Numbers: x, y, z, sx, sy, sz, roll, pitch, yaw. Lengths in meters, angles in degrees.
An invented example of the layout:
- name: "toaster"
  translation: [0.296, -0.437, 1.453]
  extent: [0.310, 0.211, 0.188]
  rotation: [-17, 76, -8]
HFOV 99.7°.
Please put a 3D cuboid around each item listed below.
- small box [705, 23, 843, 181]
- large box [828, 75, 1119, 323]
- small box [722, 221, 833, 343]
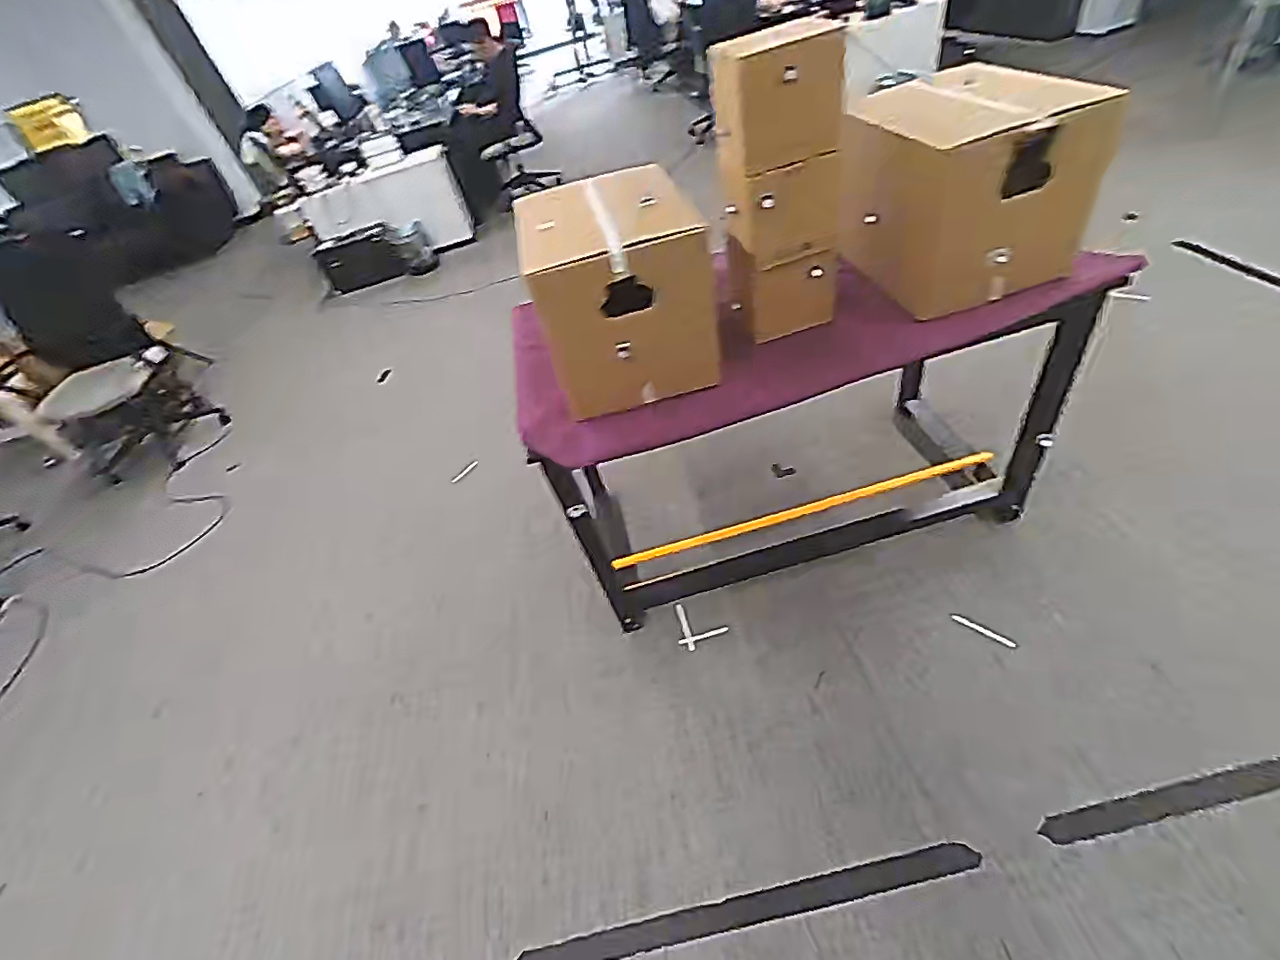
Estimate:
- name: "small box"
  translation: [0.222, -0.637, 0.915]
  extent: [0.179, 0.176, 0.168]
  rotation: [-16, 44, 2]
- name: "large box"
  translation: [0.618, -0.580, 1.105]
  extent: [0.320, 0.320, 0.408]
  rotation: [-17, 43, 1]
- name: "small box"
  translation: [0.287, -0.417, 1.146]
  extent: [0.179, 0.176, 0.168]
  rotation: [-17, 43, 0]
